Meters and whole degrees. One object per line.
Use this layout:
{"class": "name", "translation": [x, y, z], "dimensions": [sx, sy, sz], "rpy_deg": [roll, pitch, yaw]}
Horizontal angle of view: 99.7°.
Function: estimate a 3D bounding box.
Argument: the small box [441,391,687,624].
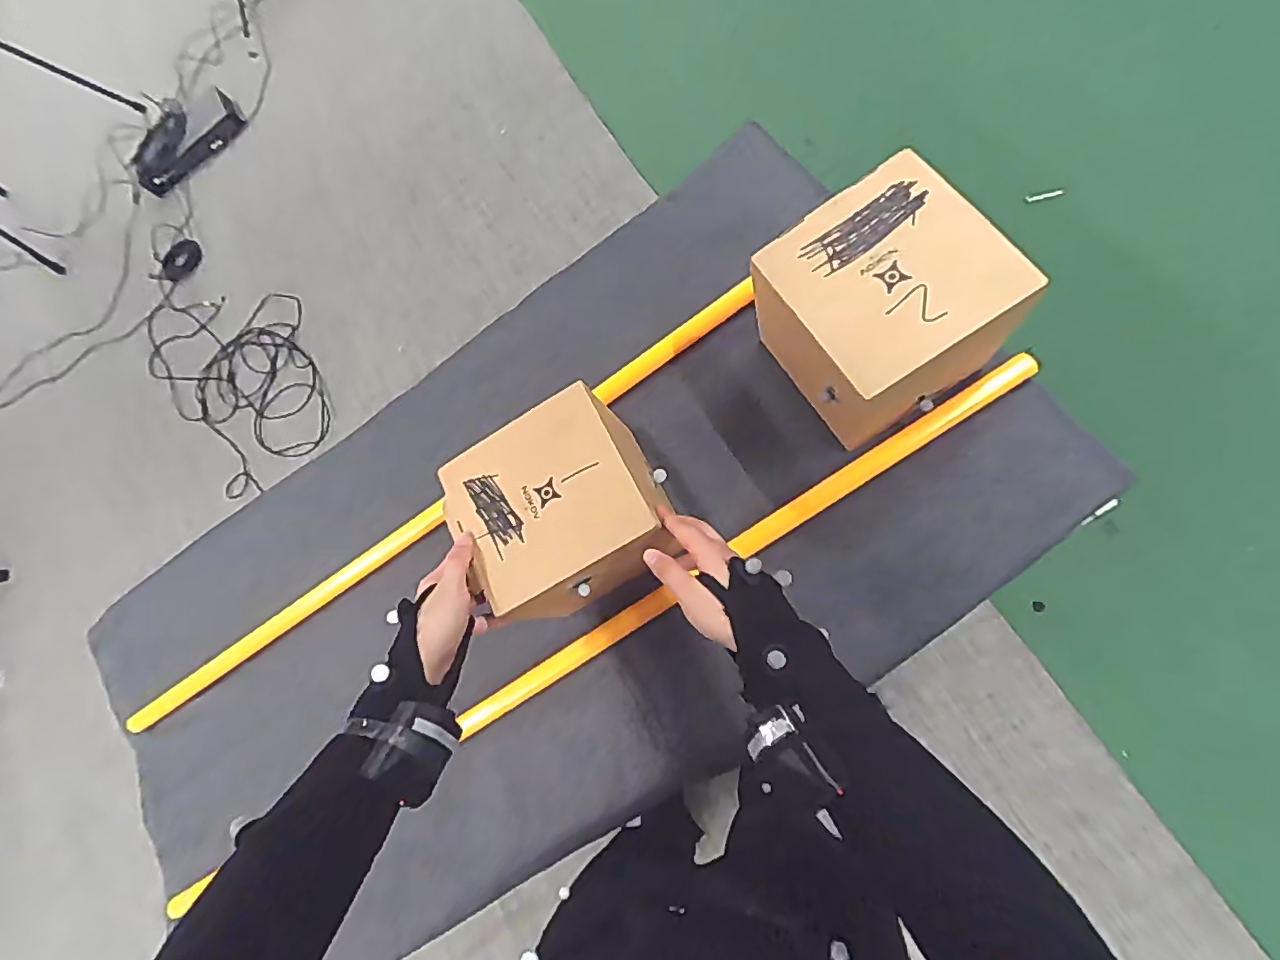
{"class": "small box", "translation": [-0.070, 0.041, 0.579], "dimensions": [0.179, 0.176, 0.168], "rpy_deg": [-30, 72, 7]}
